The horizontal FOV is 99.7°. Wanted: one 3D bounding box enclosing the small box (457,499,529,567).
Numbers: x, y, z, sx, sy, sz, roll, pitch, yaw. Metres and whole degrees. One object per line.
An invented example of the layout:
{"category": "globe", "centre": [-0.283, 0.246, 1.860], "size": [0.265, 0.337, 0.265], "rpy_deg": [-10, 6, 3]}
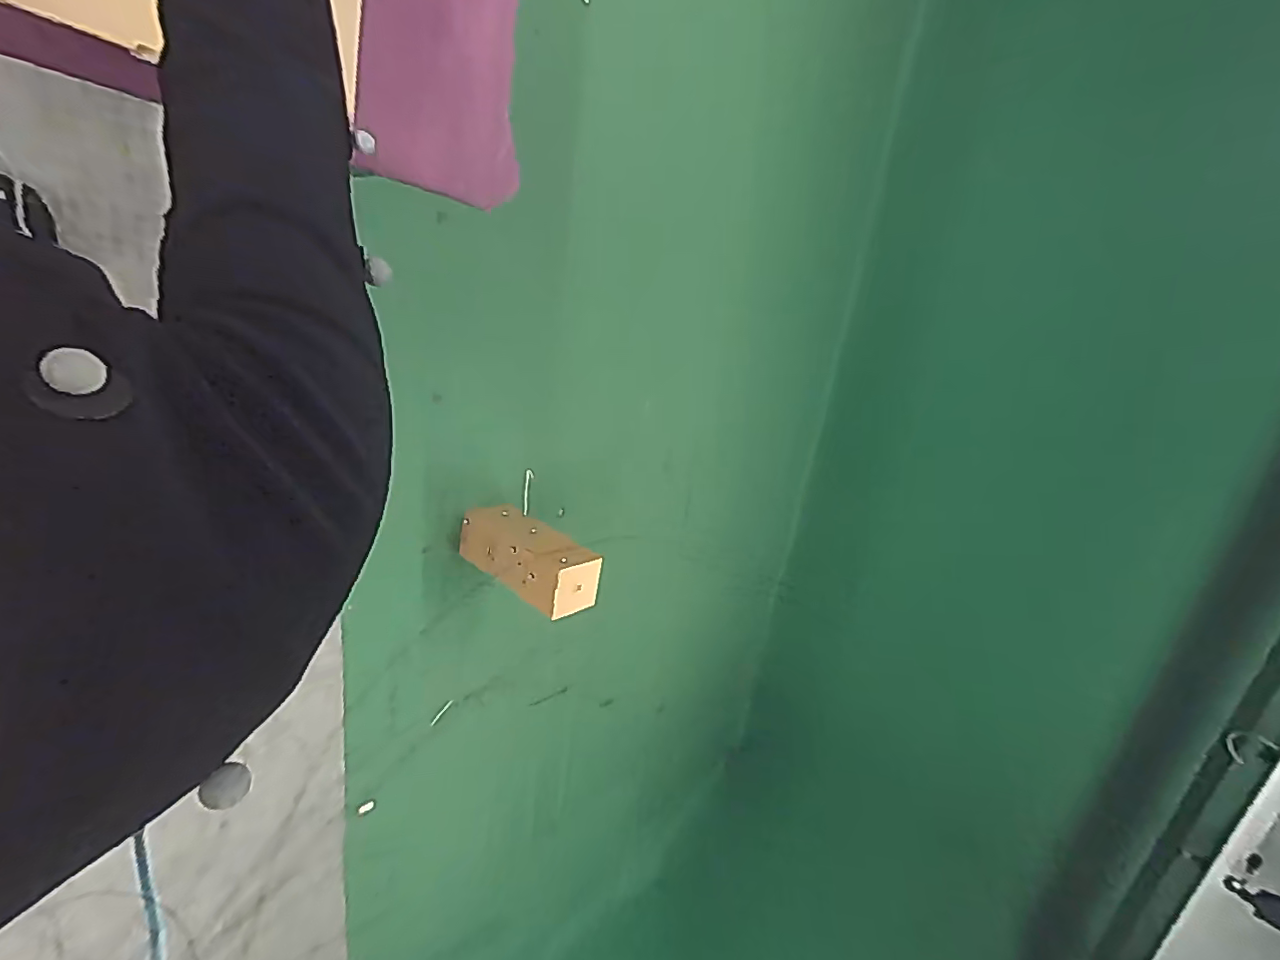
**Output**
{"category": "small box", "centre": [-0.507, 0.175, 1.846], "size": [0.179, 0.176, 0.168], "rpy_deg": [-10, 115, -47]}

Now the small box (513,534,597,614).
{"category": "small box", "centre": [-0.261, 0.278, 1.655], "size": [0.179, 0.176, 0.168], "rpy_deg": [-9, 116, -49]}
